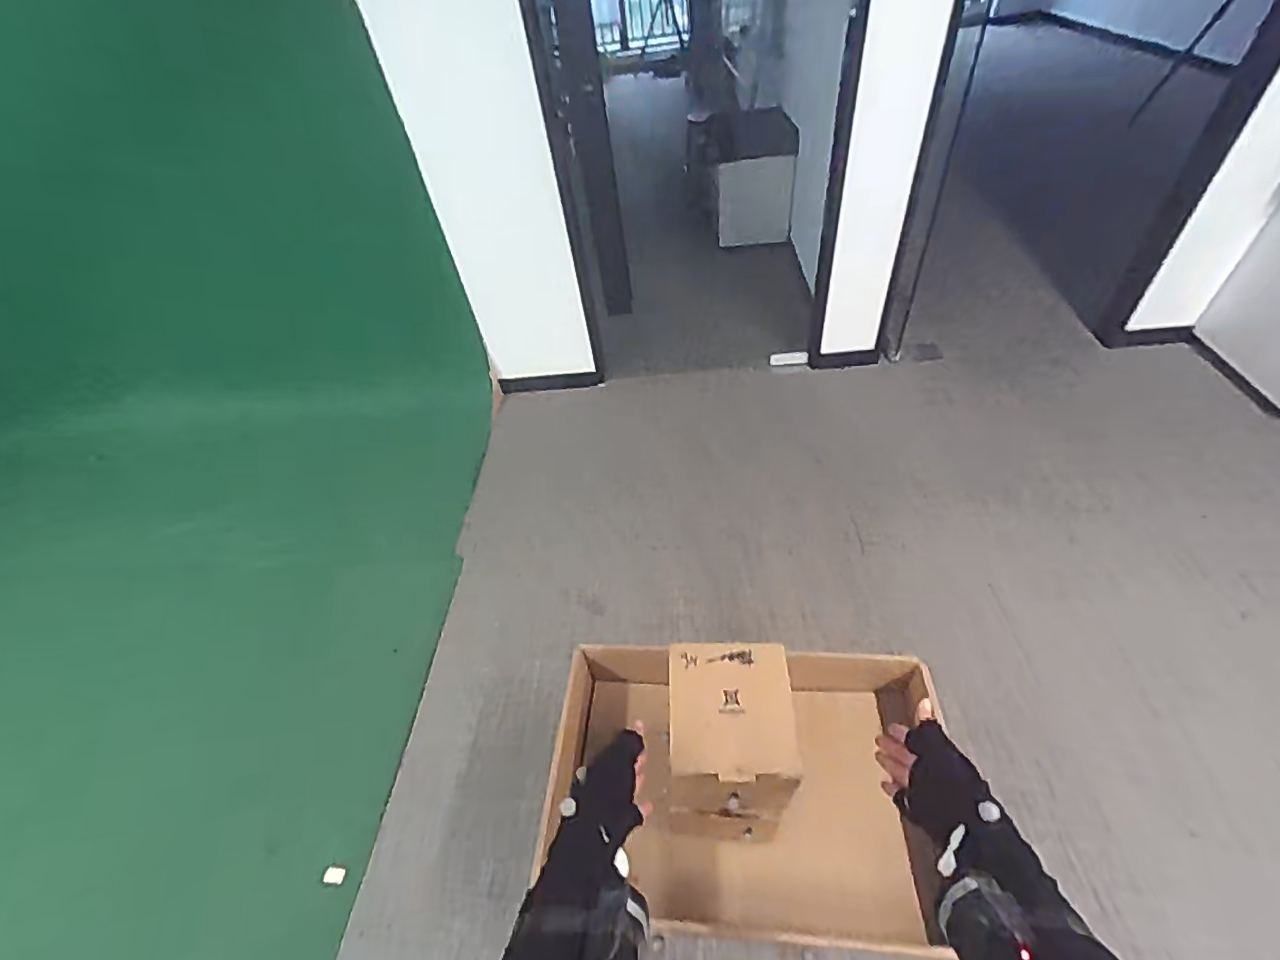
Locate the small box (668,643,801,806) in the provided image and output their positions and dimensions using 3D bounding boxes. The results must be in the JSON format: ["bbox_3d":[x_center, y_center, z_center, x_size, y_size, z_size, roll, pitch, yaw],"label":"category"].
[{"bbox_3d":[0.127,0.353,0.776,0.168,0.176,0.179,-1,47,4],"label":"small box"}]

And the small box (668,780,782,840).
[{"bbox_3d":[0.136,0.472,0.889,0.168,0.176,0.179,1,45,6],"label":"small box"}]
